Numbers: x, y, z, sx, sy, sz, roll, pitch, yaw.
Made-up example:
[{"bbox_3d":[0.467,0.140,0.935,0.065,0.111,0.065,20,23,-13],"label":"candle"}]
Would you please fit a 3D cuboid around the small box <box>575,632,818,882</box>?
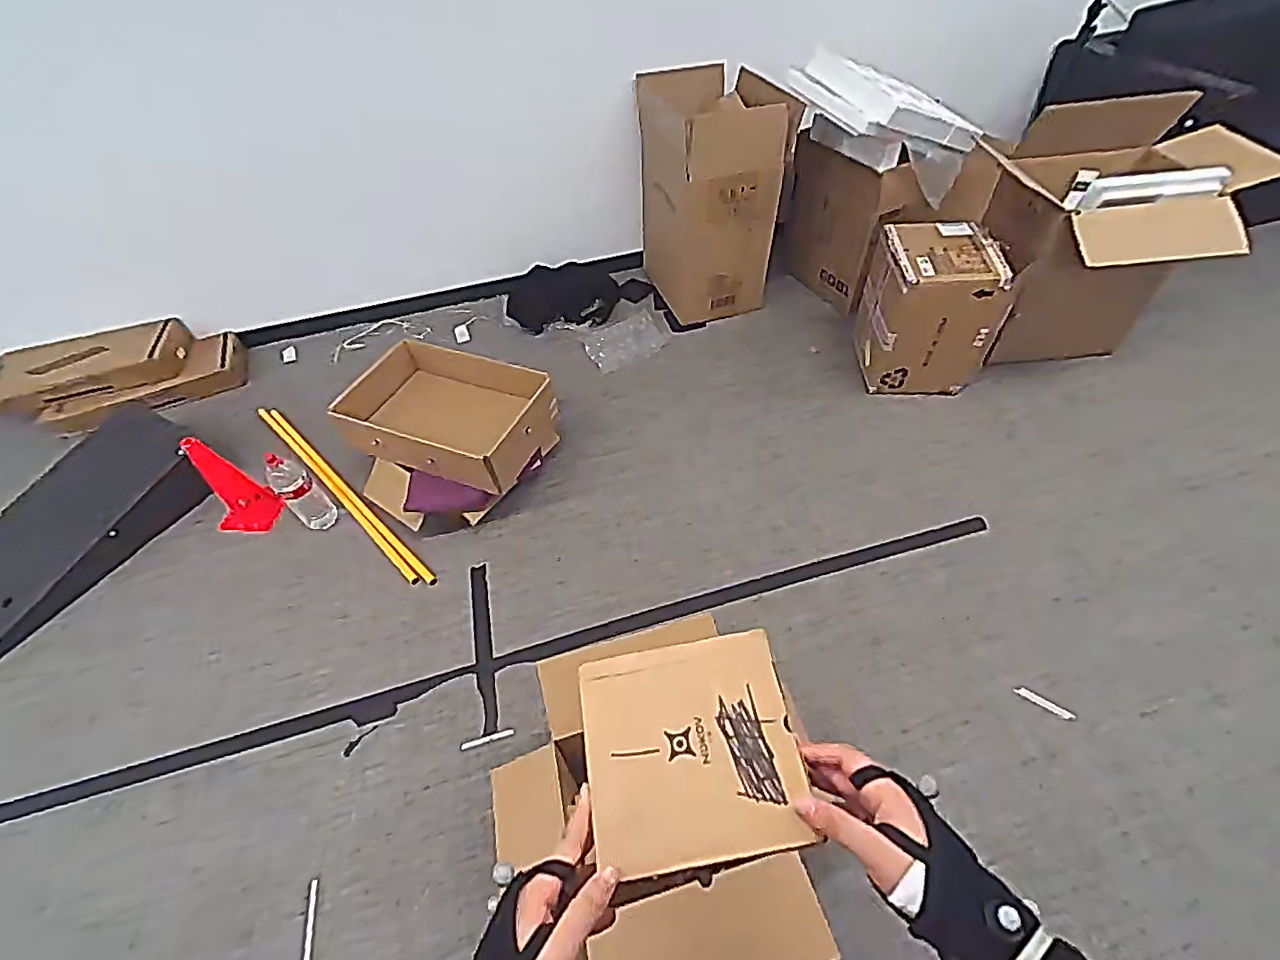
[{"bbox_3d":[0.045,0.262,0.513,0.179,0.176,0.168,-11,56,0],"label":"small box"}]
